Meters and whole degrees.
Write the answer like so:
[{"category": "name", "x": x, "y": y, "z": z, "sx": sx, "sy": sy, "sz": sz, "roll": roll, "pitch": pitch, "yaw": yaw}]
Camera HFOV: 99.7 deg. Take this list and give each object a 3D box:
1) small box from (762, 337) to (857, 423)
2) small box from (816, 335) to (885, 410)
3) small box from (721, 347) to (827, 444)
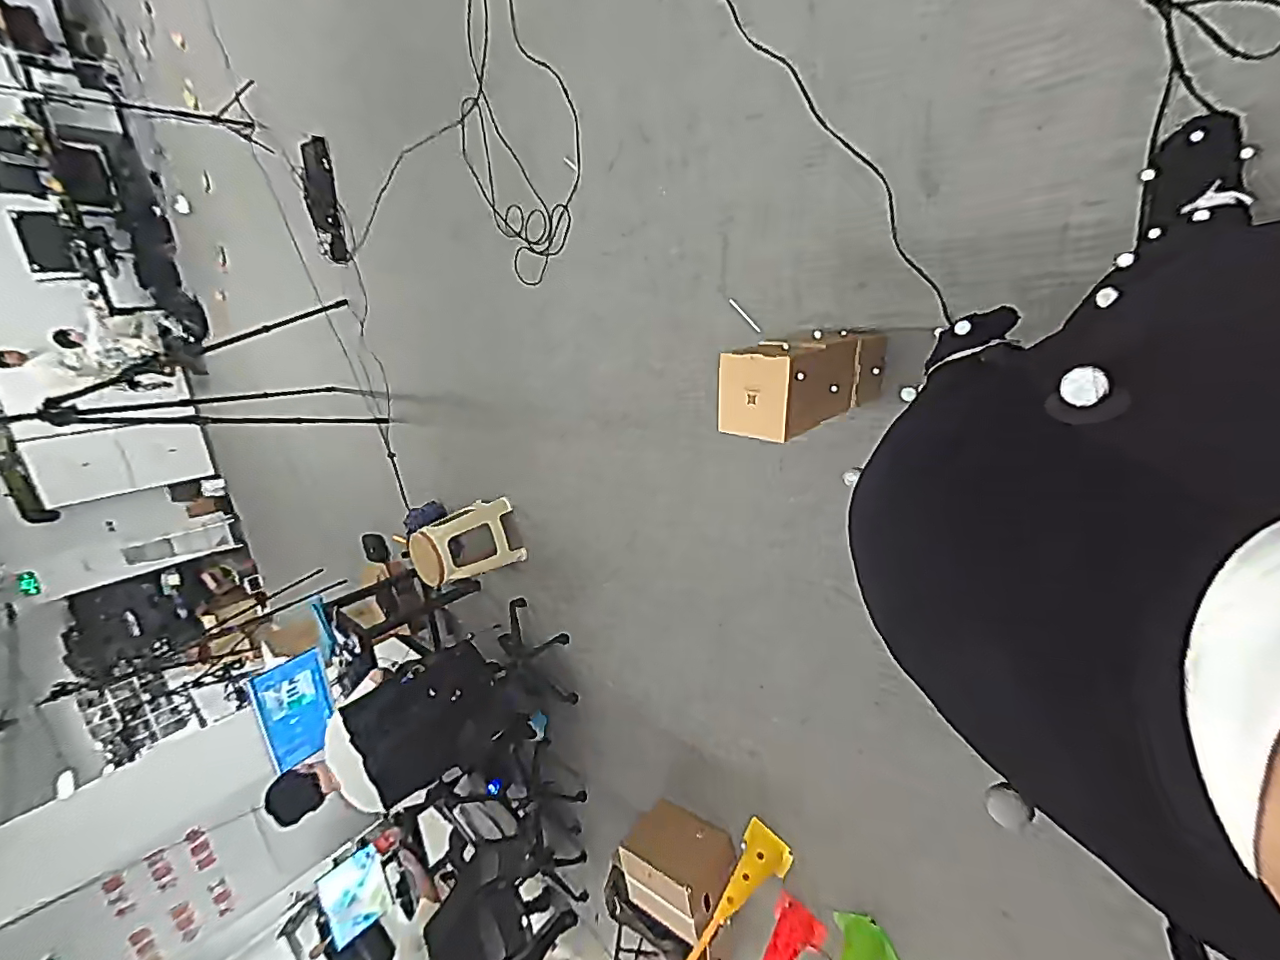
[{"category": "small box", "x": 0.402, "y": -0.243, "z": 1.293, "sx": 0.168, "sy": 0.176, "sz": 0.179, "roll": 15, "pitch": 115, "yaw": 40}, {"category": "small box", "x": 0.517, "y": -0.285, "z": 1.403, "sx": 0.179, "sy": 0.176, "sz": 0.168, "roll": 14, "pitch": 115, "yaw": 40}, {"category": "small box", "x": 0.294, "y": -0.191, "z": 1.183, "sx": 0.168, "sy": 0.176, "sz": 0.179, "roll": 15, "pitch": 115, "yaw": 40}]
